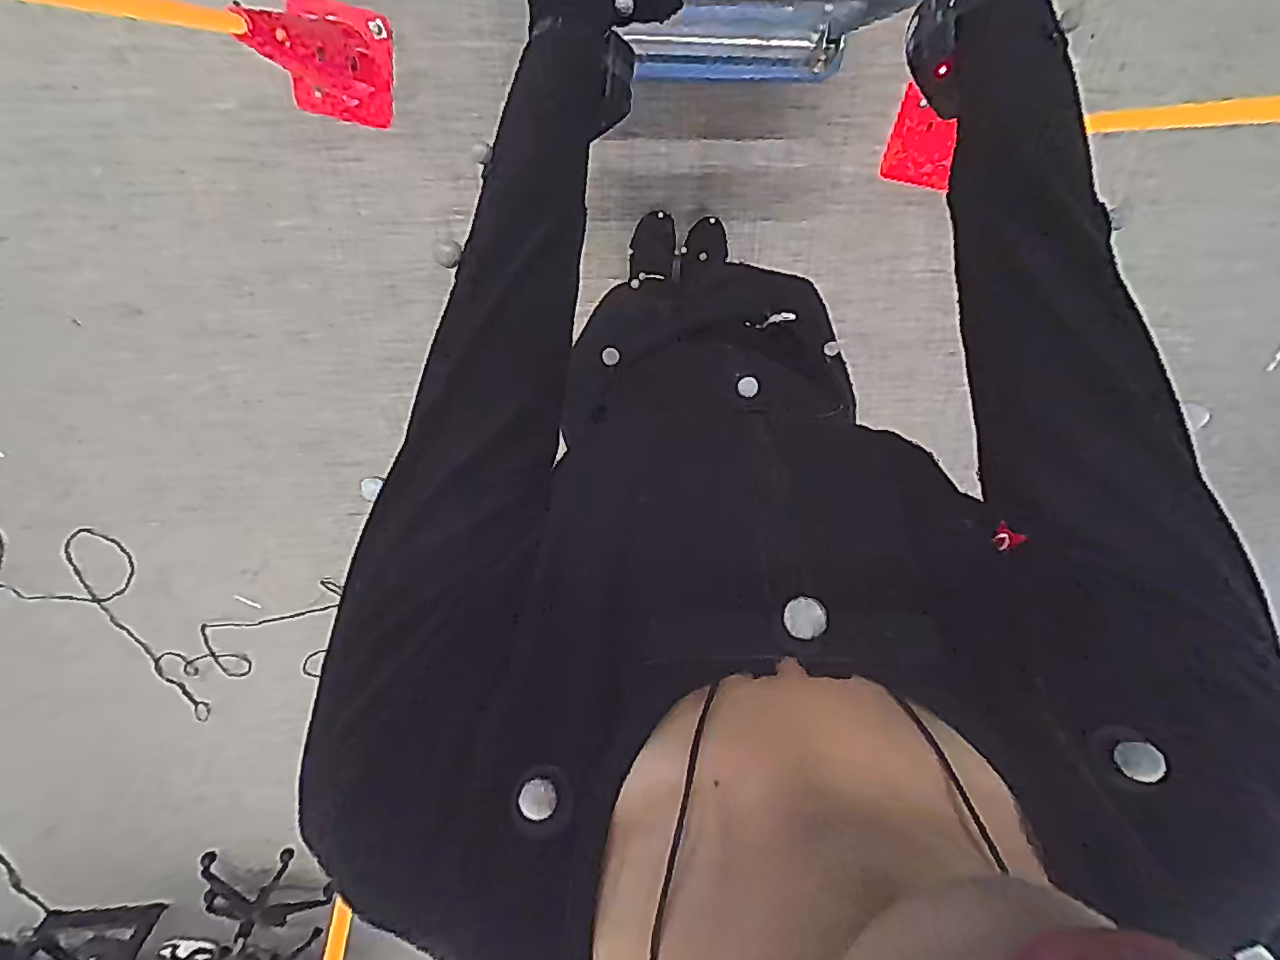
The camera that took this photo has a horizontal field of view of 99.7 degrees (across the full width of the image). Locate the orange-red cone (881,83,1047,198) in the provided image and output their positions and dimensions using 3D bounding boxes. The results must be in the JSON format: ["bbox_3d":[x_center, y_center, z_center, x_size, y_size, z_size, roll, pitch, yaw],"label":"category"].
[{"bbox_3d":[0.675,-0.680,1.078,0.198,0.360,0.199,8,119,-7],"label":"orange-red cone"}]
